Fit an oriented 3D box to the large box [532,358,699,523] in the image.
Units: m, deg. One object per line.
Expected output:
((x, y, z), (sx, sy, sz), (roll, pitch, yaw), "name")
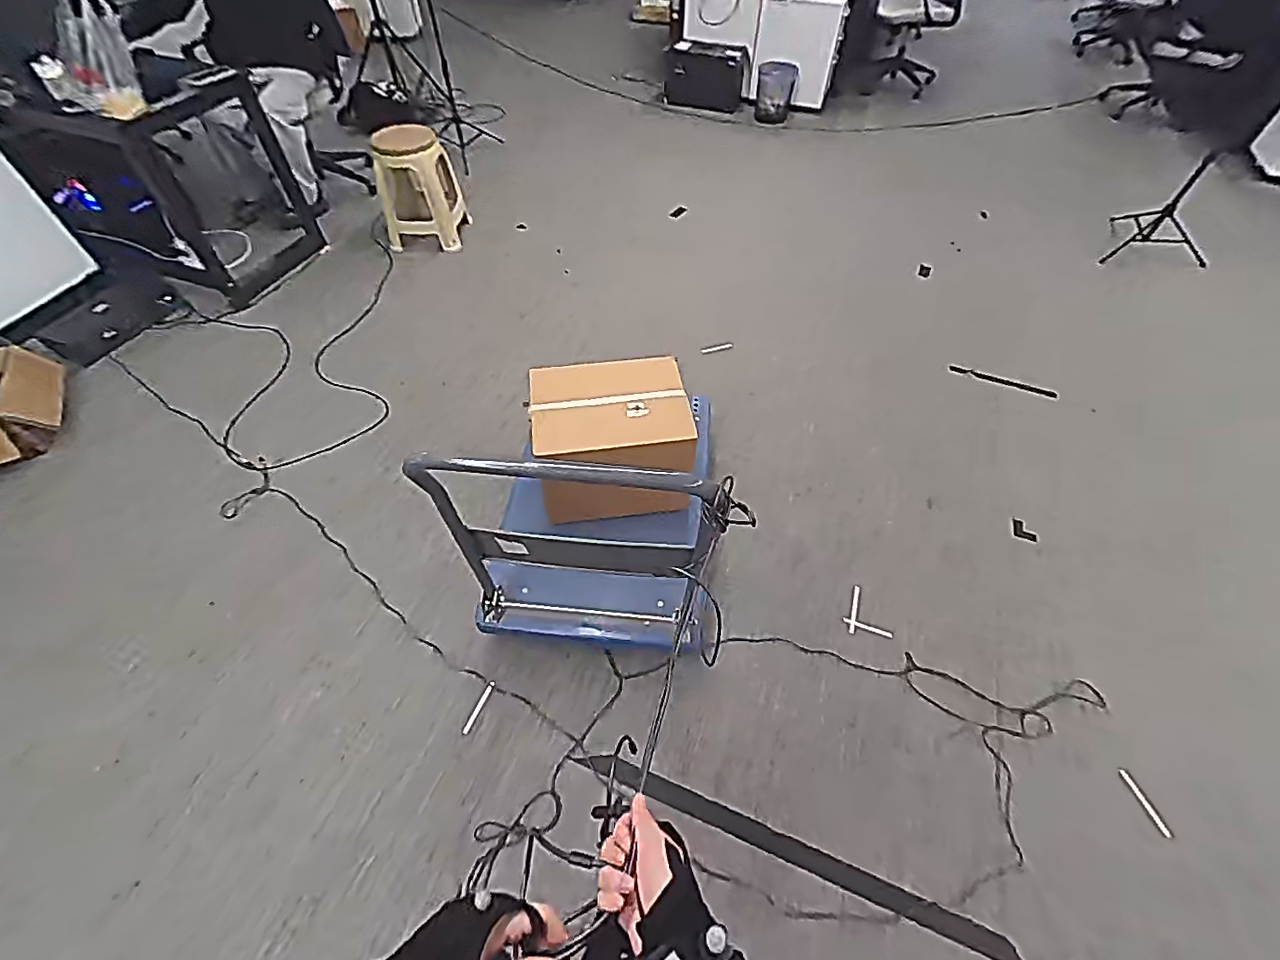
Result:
((-0.076, -0.106, 1.507), (0.408, 0.320, 0.320), (-6, 54, -6), "large box")
